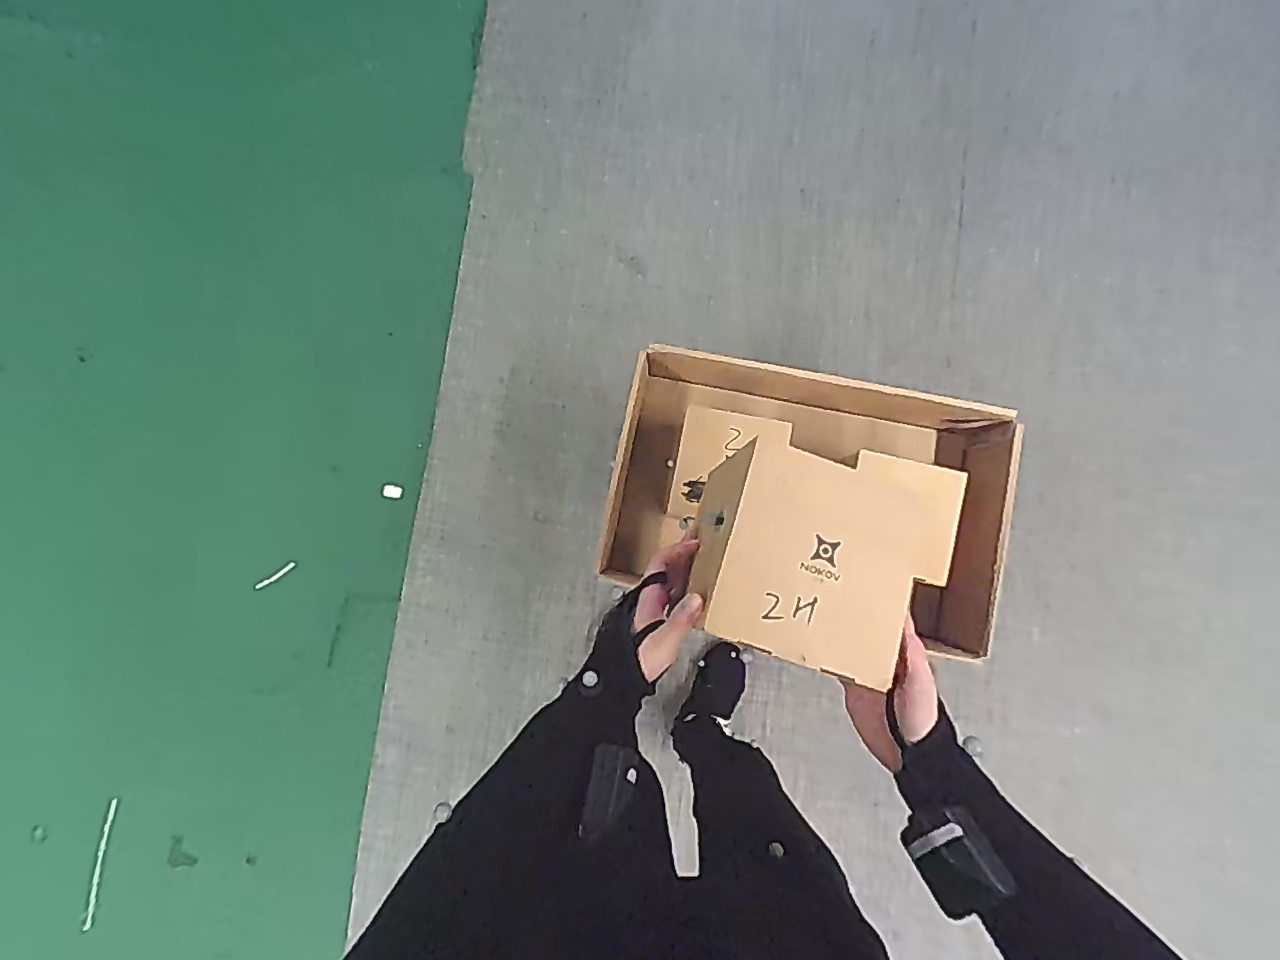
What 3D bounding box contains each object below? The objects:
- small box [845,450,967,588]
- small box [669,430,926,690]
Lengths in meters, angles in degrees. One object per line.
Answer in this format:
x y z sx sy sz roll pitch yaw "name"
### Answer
0.391 0.064 0.879 0.168 0.176 0.179 13 86 4 "small box"
0.137 0.079 0.524 0.168 0.176 0.179 19 76 -3 "small box"
